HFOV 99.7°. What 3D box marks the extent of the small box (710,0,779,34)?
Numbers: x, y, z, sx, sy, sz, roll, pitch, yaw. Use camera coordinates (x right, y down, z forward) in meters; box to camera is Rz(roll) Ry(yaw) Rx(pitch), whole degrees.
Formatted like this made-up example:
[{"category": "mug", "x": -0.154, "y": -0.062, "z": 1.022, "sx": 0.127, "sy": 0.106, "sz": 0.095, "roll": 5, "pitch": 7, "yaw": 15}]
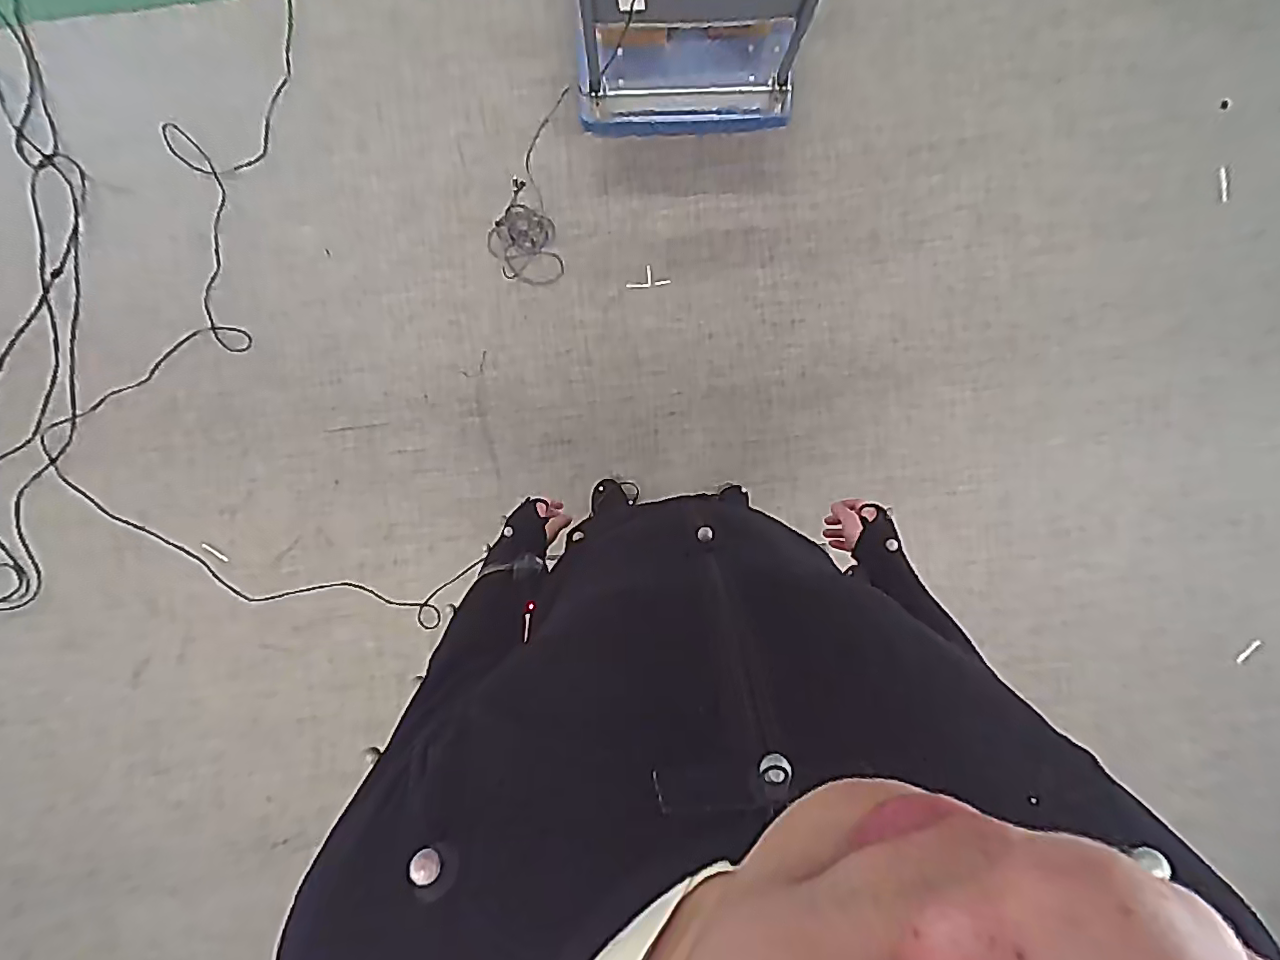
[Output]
[{"category": "small box", "x": 0.265, "y": -1.275, "z": 1.357, "sx": 0.168, "sy": 0.176, "sz": 0.179, "roll": 0, "pitch": 92, "yaw": 1}]
